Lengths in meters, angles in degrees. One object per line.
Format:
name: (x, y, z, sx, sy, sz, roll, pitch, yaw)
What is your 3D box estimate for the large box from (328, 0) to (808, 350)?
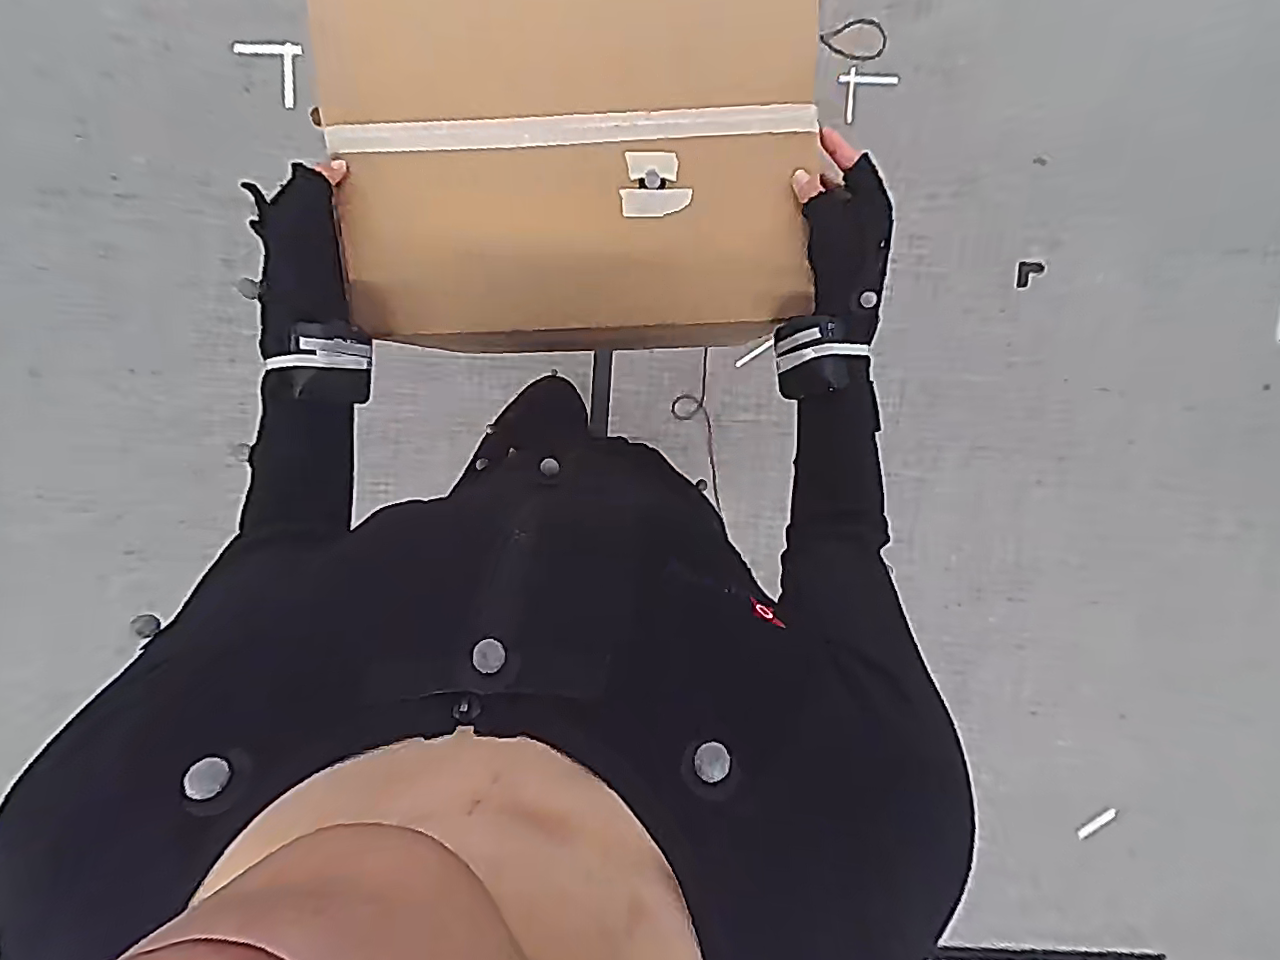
large box: (-0.057, -0.325, 0.611, 0.408, 0.320, 0.320, -3, 101, 0)
